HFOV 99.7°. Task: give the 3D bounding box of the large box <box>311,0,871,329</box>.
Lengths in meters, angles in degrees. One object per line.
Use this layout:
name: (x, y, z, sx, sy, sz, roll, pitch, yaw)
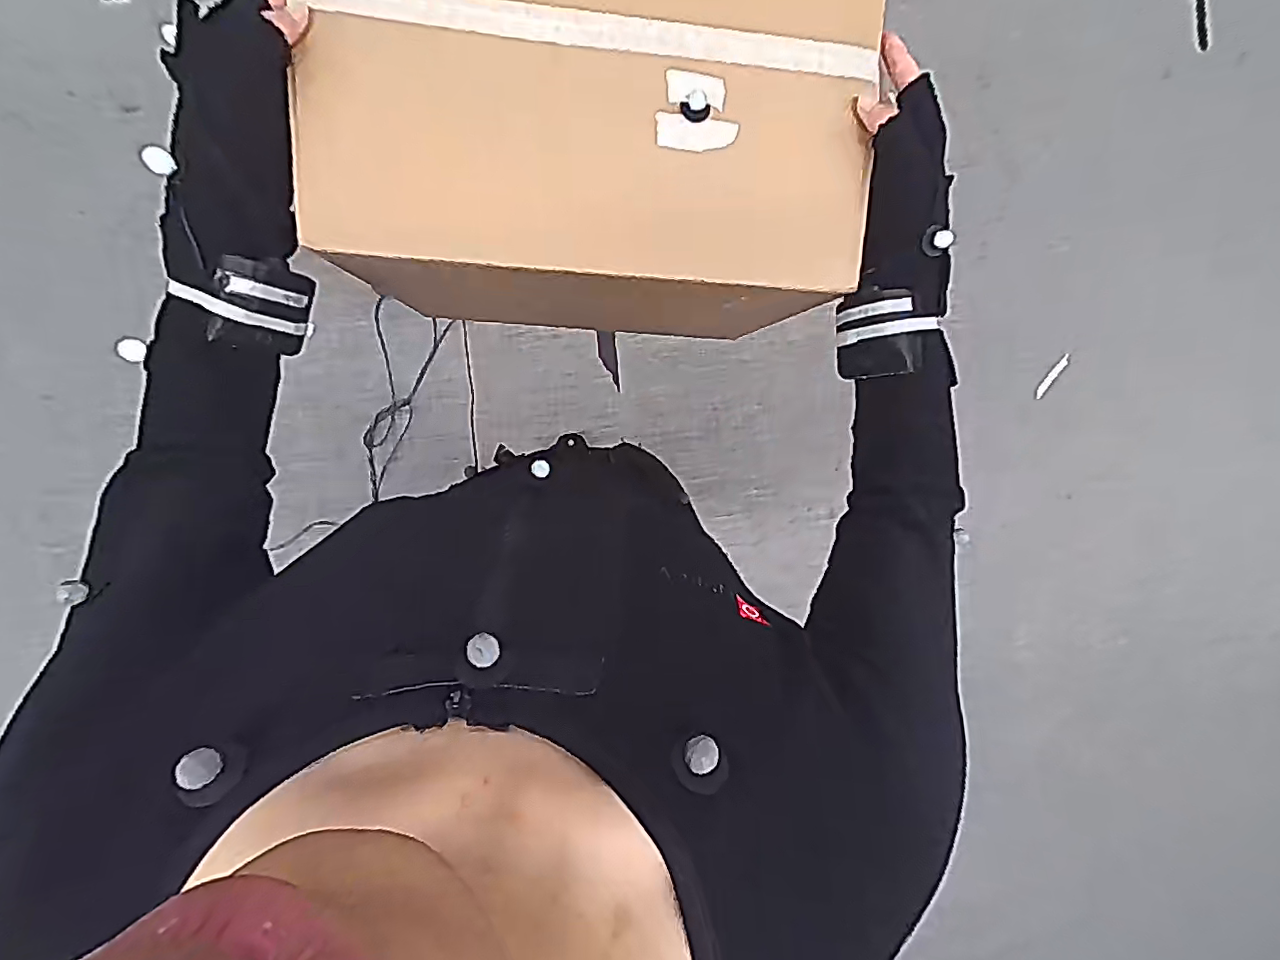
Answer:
large box: (-0.045, -0.335, 0.534, 0.408, 0.320, 0.320, 1, 98, -8)
